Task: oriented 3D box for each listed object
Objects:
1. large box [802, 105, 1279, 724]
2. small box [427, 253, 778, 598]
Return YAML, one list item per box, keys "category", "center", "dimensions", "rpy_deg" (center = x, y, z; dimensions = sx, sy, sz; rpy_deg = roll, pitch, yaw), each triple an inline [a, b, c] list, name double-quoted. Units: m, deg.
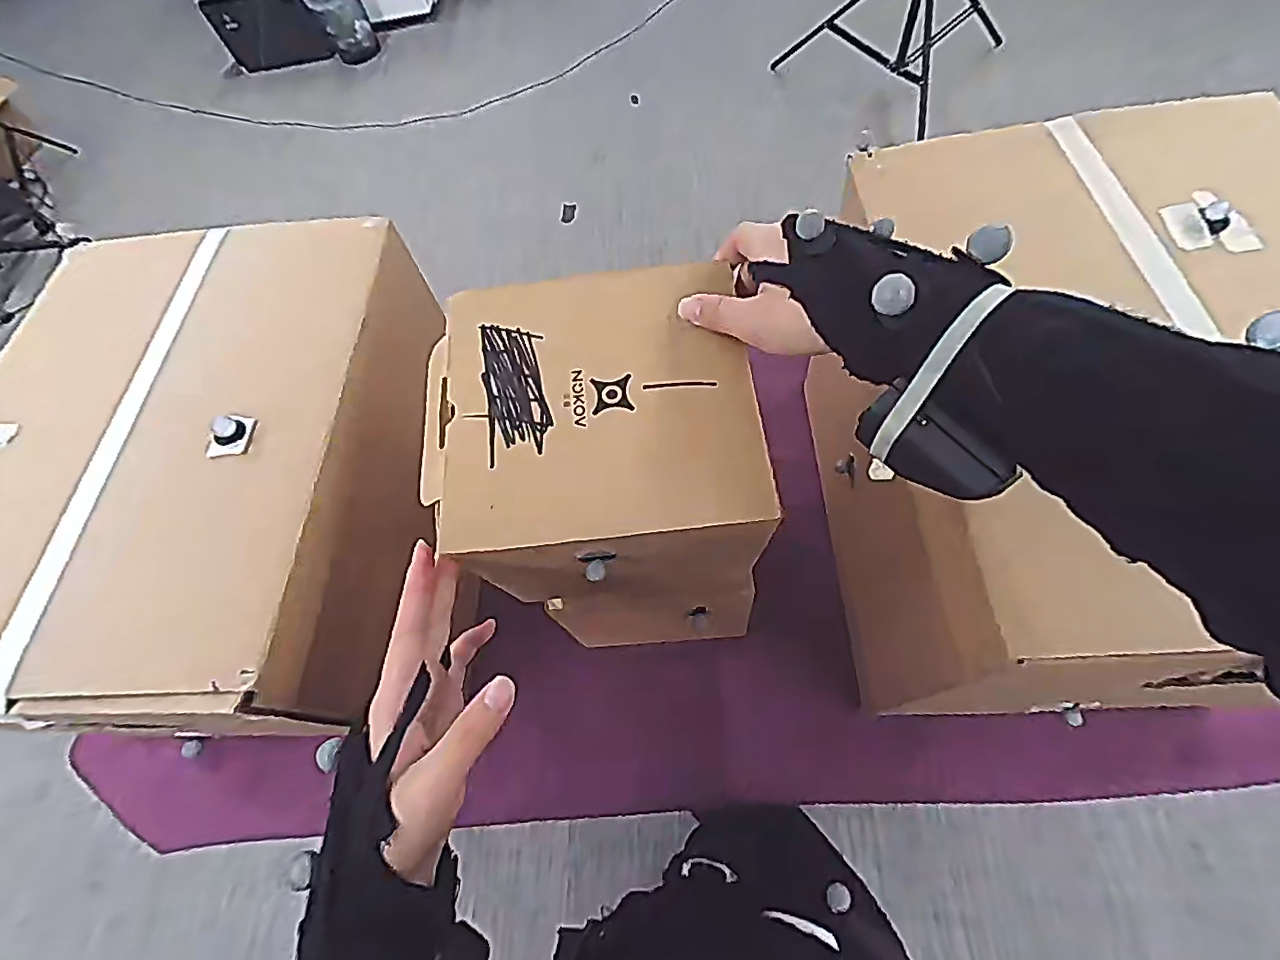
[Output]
- category: "large box"
  center: [0.343, -0.029, 0.463]
  dimensions: [0.320, 0.320, 0.408]
  rpy_deg: [-5, 61, 5]
- category: "small box"
  center: [-0.018, -0.021, 0.365]
  dimensions: [0.179, 0.176, 0.168]
  rpy_deg: [-5, 68, 2]
